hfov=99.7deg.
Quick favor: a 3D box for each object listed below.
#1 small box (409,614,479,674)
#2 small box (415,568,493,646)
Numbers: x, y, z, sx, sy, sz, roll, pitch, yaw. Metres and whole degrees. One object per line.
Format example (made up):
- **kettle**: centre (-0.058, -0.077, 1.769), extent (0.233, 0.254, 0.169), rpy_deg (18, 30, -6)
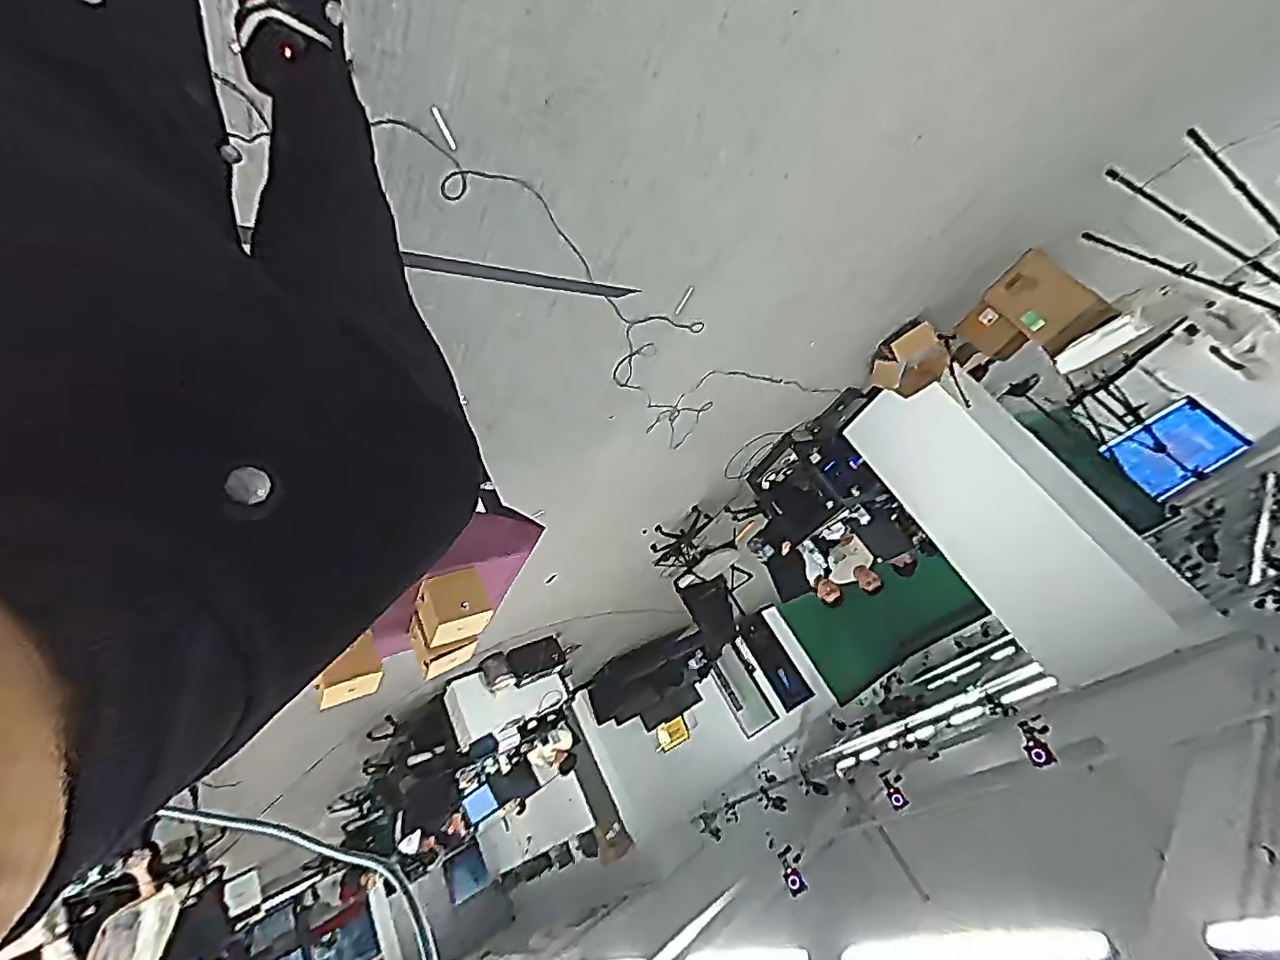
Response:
- **small box**: centre (-0.702, 0.556, 1.925), extent (0.179, 0.176, 0.168), rpy_deg (-11, 148, -37)
- **small box**: centre (-0.608, 0.408, 1.759), extent (0.179, 0.176, 0.168), rpy_deg (-10, 147, -39)
